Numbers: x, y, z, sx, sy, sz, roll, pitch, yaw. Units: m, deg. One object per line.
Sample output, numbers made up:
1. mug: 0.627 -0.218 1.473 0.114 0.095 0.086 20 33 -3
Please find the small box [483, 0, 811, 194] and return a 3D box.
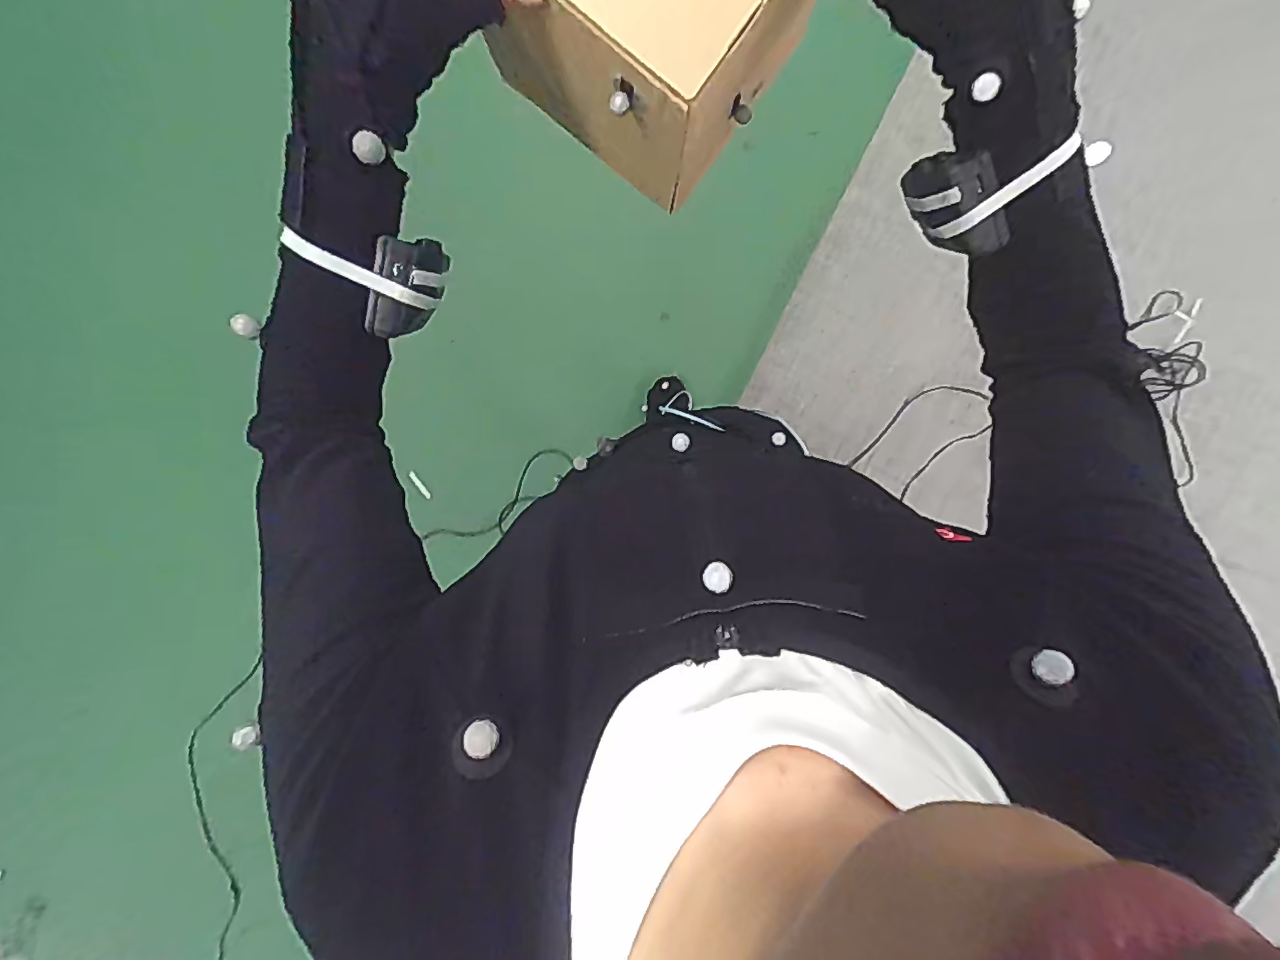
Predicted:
1. small box: 0.006 -0.327 0.350 0.179 0.176 0.168 37 97 -6
